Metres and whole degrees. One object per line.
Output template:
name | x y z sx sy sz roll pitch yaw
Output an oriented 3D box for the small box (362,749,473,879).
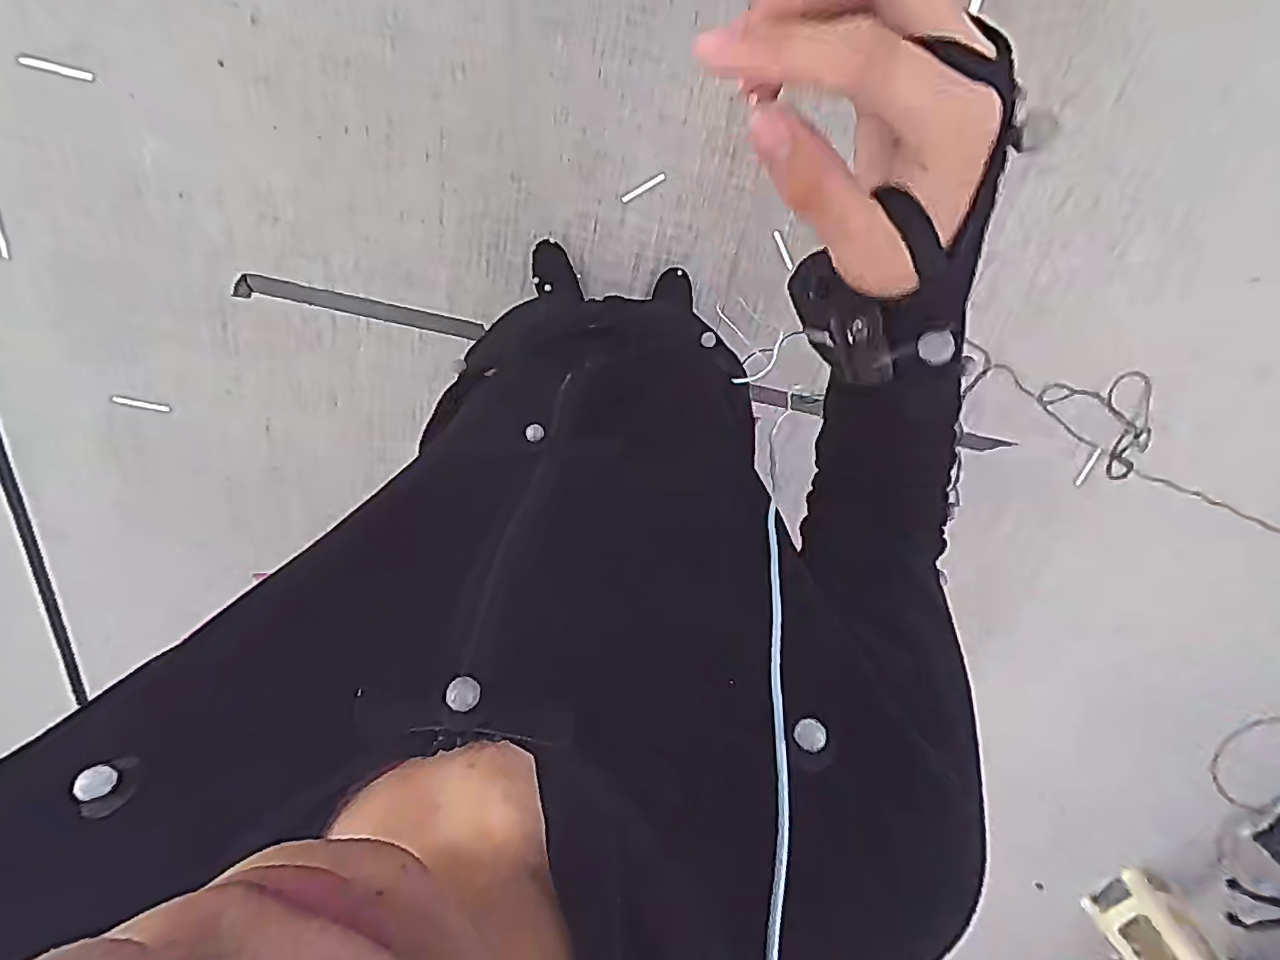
small box | -0.459 0.695 1.136 0.179 0.176 0.168 10 115 -5
